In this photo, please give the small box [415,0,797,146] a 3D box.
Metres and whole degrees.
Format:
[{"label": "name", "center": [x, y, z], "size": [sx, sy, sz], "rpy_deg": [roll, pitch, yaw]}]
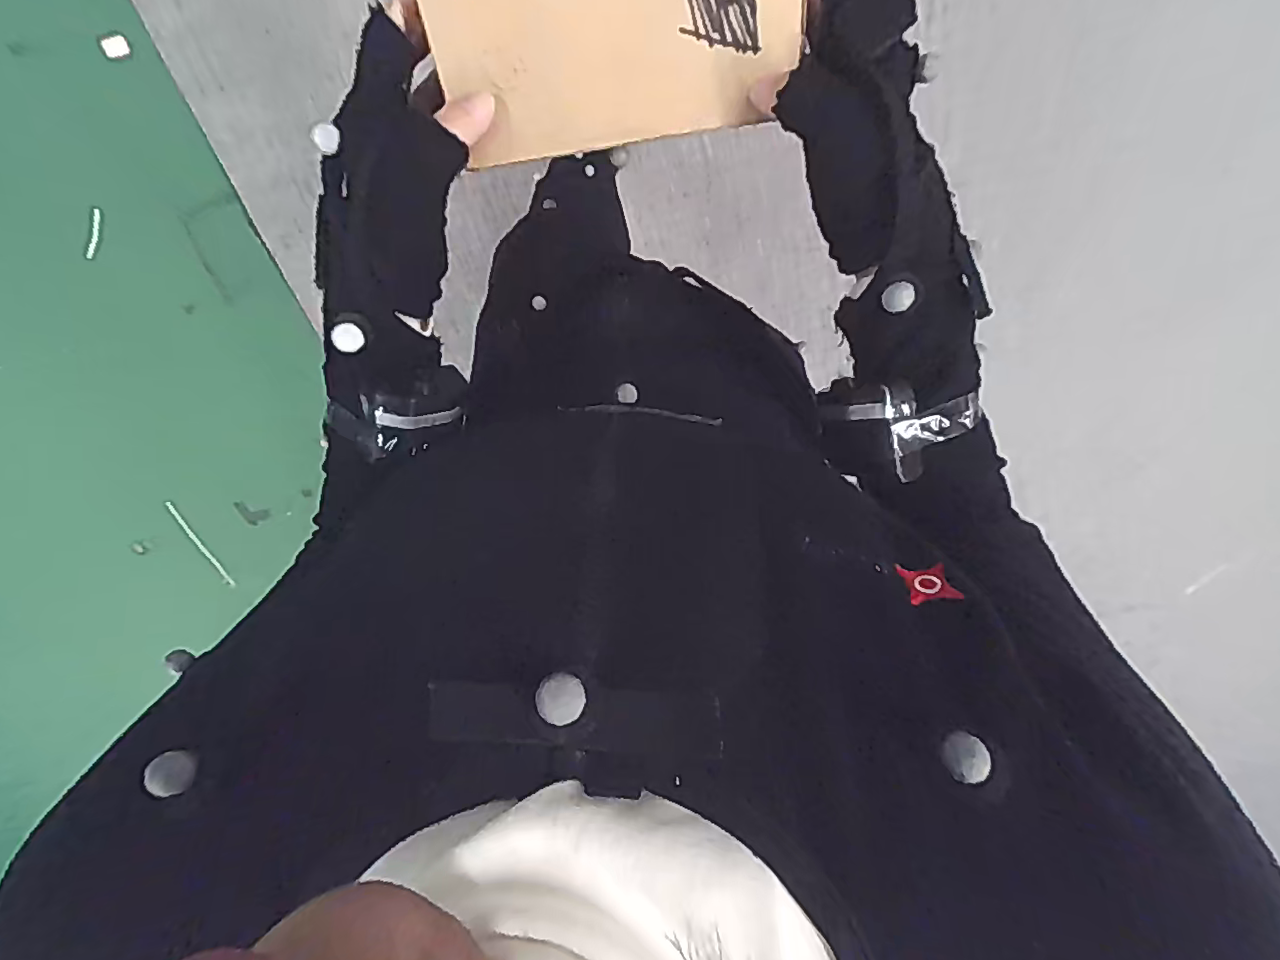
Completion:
[{"label": "small box", "center": [-0.022, -0.293, 0.290], "size": [0.179, 0.176, 0.168], "rpy_deg": [-7, 125, 4]}]
